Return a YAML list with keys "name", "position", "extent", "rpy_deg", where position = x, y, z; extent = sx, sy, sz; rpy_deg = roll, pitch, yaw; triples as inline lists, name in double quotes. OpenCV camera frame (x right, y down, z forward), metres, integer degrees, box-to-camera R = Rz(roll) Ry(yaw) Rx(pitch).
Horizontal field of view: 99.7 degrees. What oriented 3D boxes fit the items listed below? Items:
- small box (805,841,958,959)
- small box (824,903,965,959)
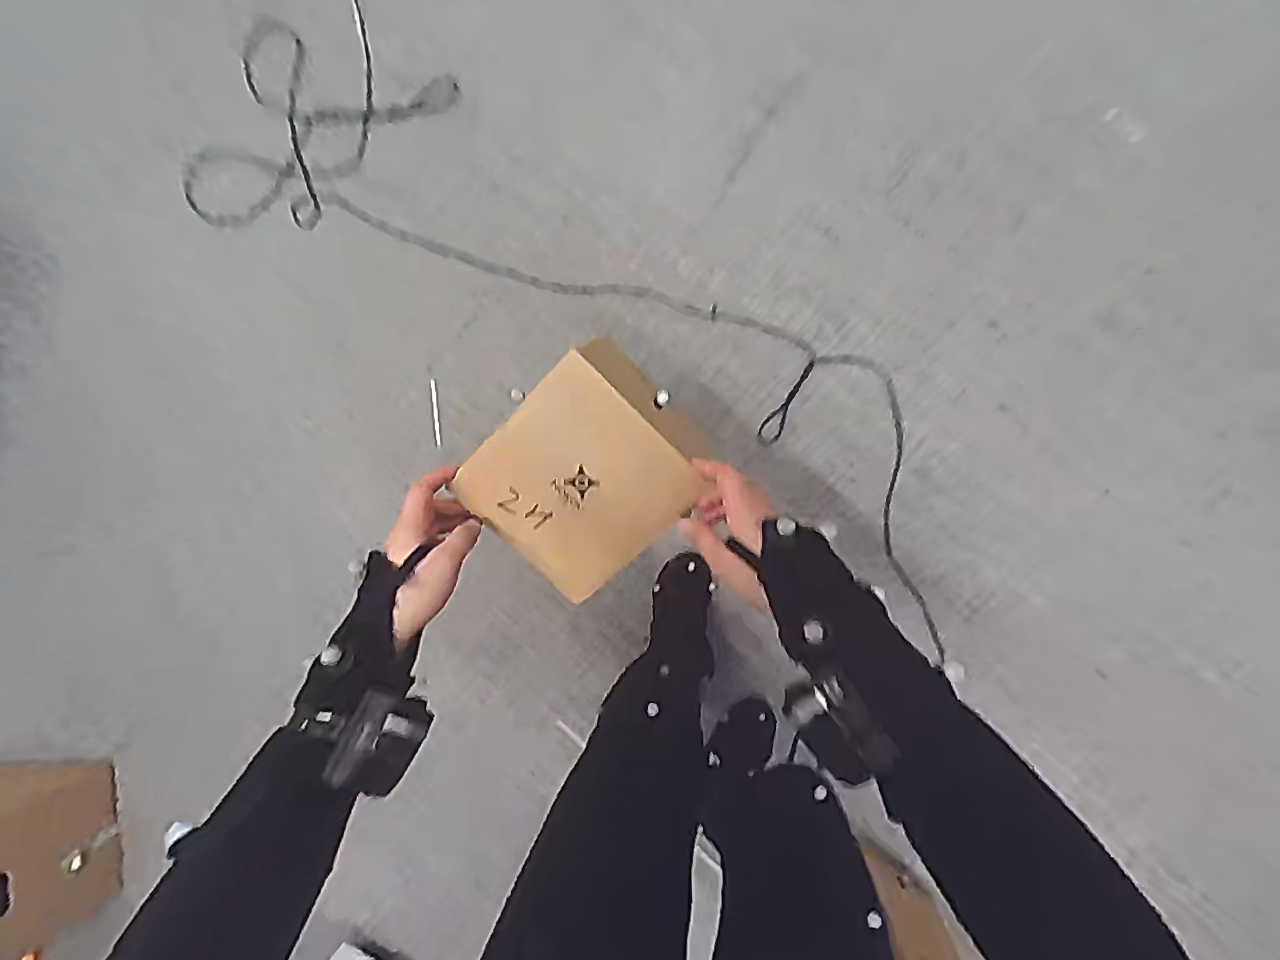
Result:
- name: "small box"
  position: [0.416, 0.789, 0.958]
  extent: [0.179, 0.176, 0.168]
  rpy_deg: [38, 97, 7]
- name: "small box"
  position: [0.396, 0.782, 0.796]
  extent: [0.179, 0.176, 0.168]
  rpy_deg: [36, 97, 6]
